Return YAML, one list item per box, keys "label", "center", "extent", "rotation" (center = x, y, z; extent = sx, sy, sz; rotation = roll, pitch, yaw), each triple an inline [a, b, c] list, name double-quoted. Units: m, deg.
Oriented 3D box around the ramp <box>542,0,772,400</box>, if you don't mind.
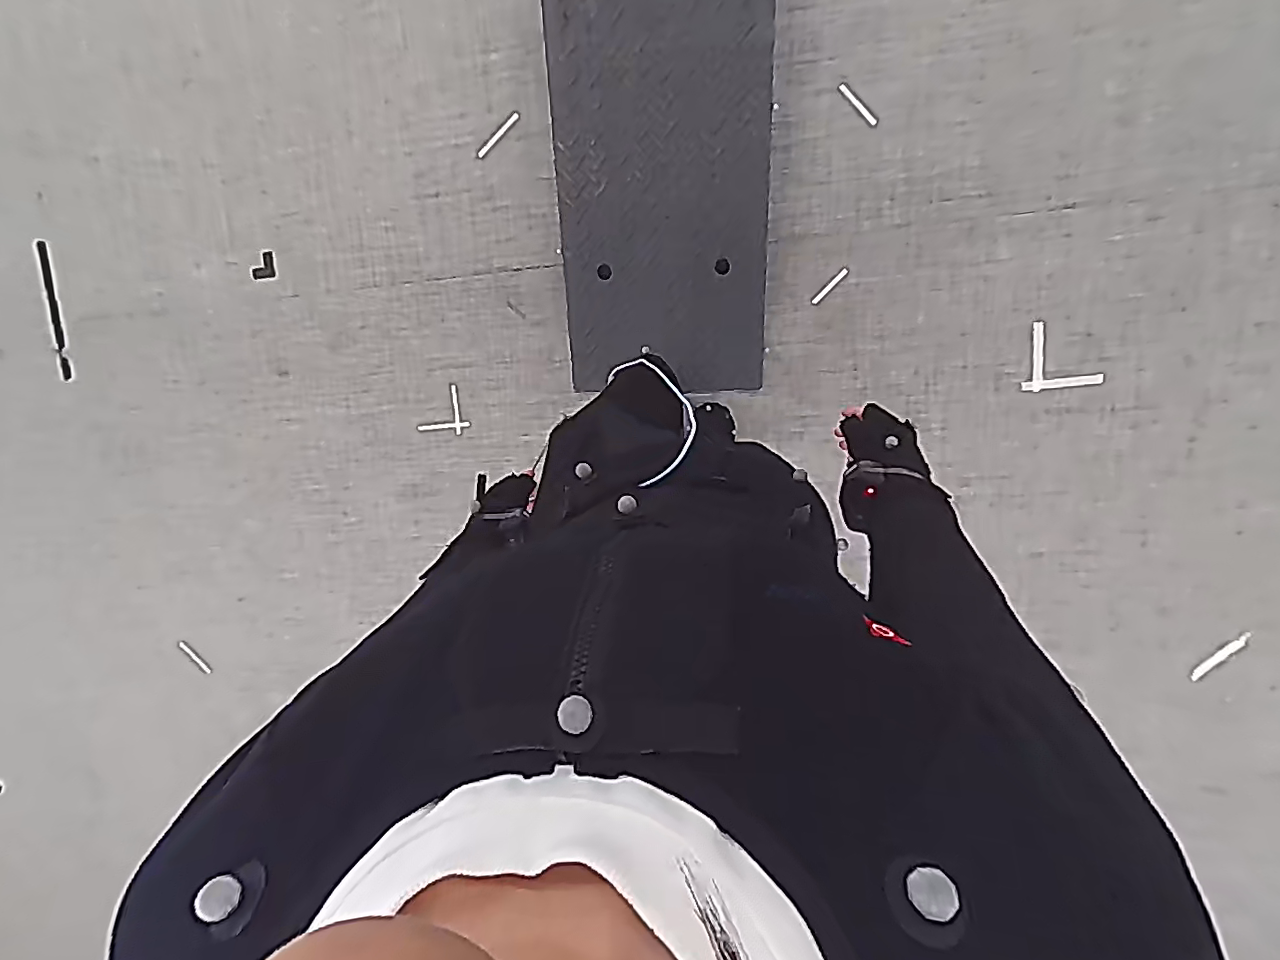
- label: "ramp"
  center: [0.056, -0.690, 1.253]
  extent: [0.509, 0.206, 0.991]
  rotation: [-3, 99, 8]
